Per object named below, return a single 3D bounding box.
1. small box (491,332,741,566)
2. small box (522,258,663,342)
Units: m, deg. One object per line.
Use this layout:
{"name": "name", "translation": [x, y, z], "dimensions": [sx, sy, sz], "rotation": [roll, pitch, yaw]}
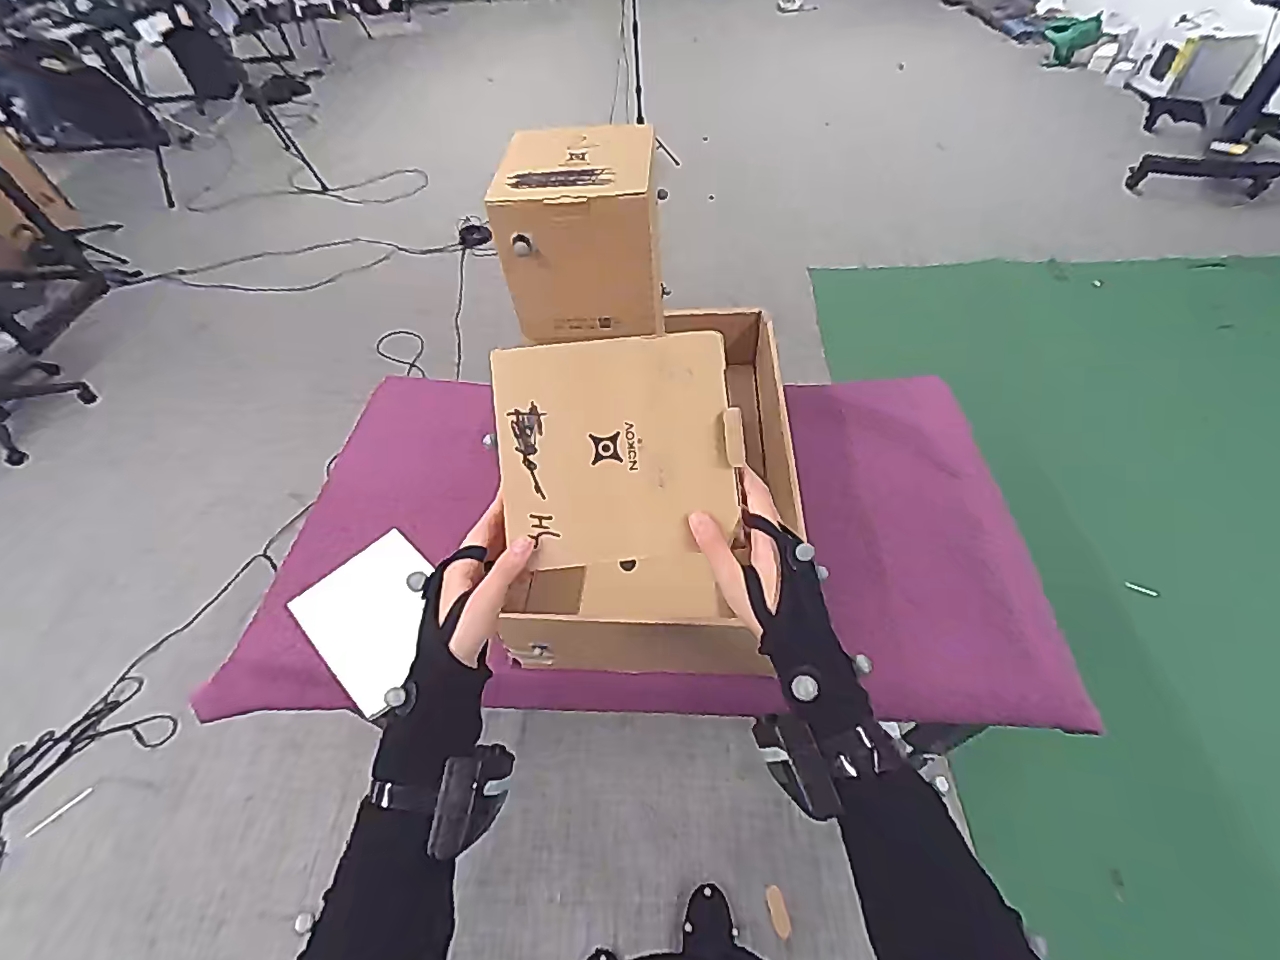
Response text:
{"name": "small box", "translation": [-0.023, -0.018, 0.476], "dimensions": [0.179, 0.176, 0.168], "rotation": [-5, 84, -3]}
{"name": "small box", "translation": [-0.055, -0.196, 0.781], "dimensions": [0.168, 0.176, 0.179], "rotation": [2, 52, 6]}
